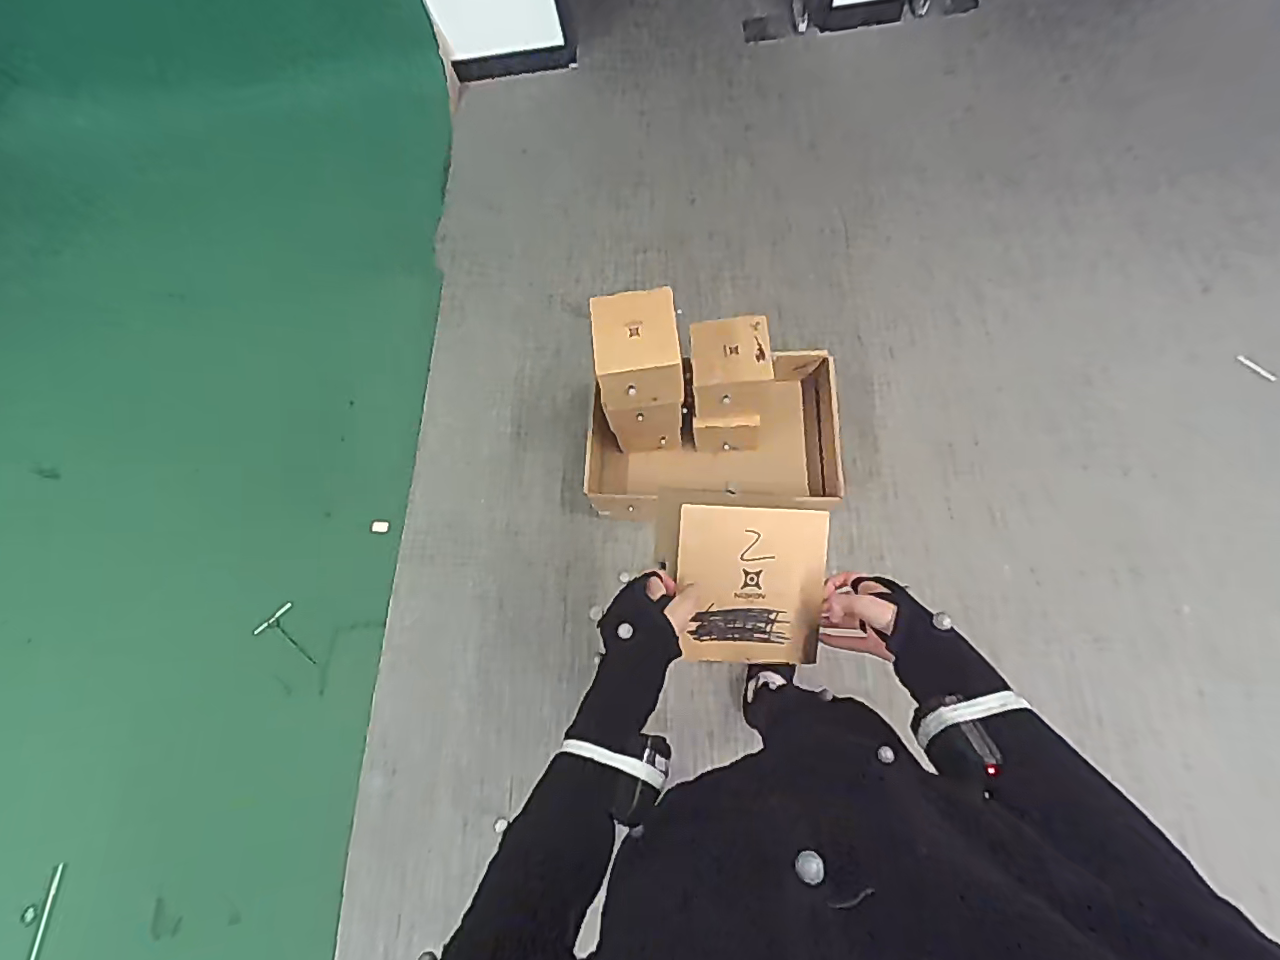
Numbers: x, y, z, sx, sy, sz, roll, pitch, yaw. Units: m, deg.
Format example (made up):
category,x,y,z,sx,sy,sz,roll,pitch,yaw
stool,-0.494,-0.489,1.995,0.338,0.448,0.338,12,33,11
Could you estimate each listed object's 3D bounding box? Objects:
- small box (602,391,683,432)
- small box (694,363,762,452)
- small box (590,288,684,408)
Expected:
category,x,y,z,sx,sy,sz,roll,pitch,yaw
small box,0.010,-0.222,1.275,0.179,0.176,0.168,-4,72,7
small box,0.229,-0.184,1.404,0.168,0.176,0.179,-1,72,10
small box,-0.001,-0.261,1.116,0.168,0.176,0.179,-7,71,5
